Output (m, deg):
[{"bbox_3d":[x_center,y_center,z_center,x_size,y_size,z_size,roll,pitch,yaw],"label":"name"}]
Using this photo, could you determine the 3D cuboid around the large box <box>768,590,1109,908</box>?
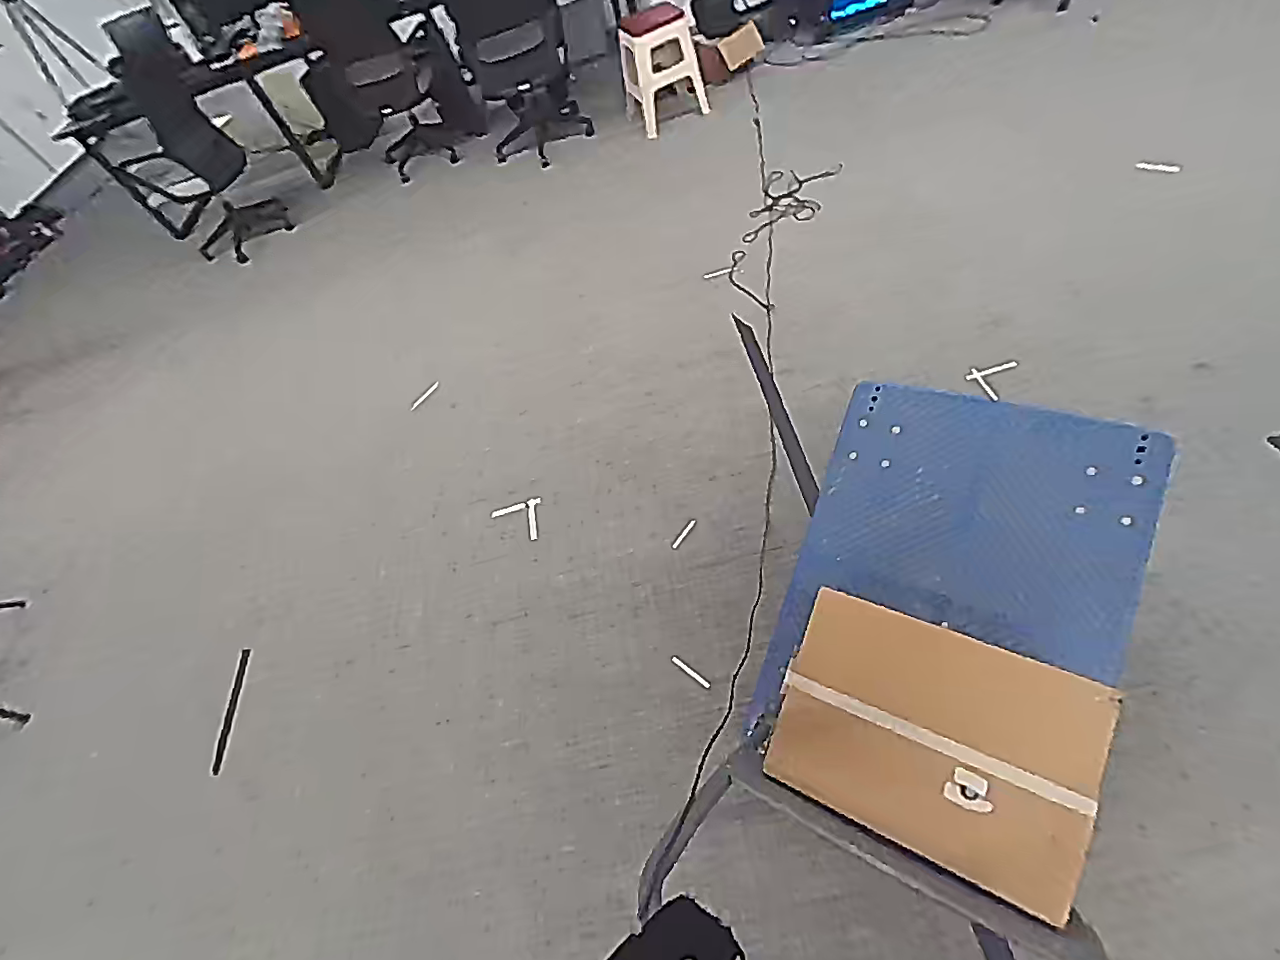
[{"bbox_3d":[0.480,0.411,0.944,0.408,0.320,0.320,17,84,26],"label":"large box"}]
